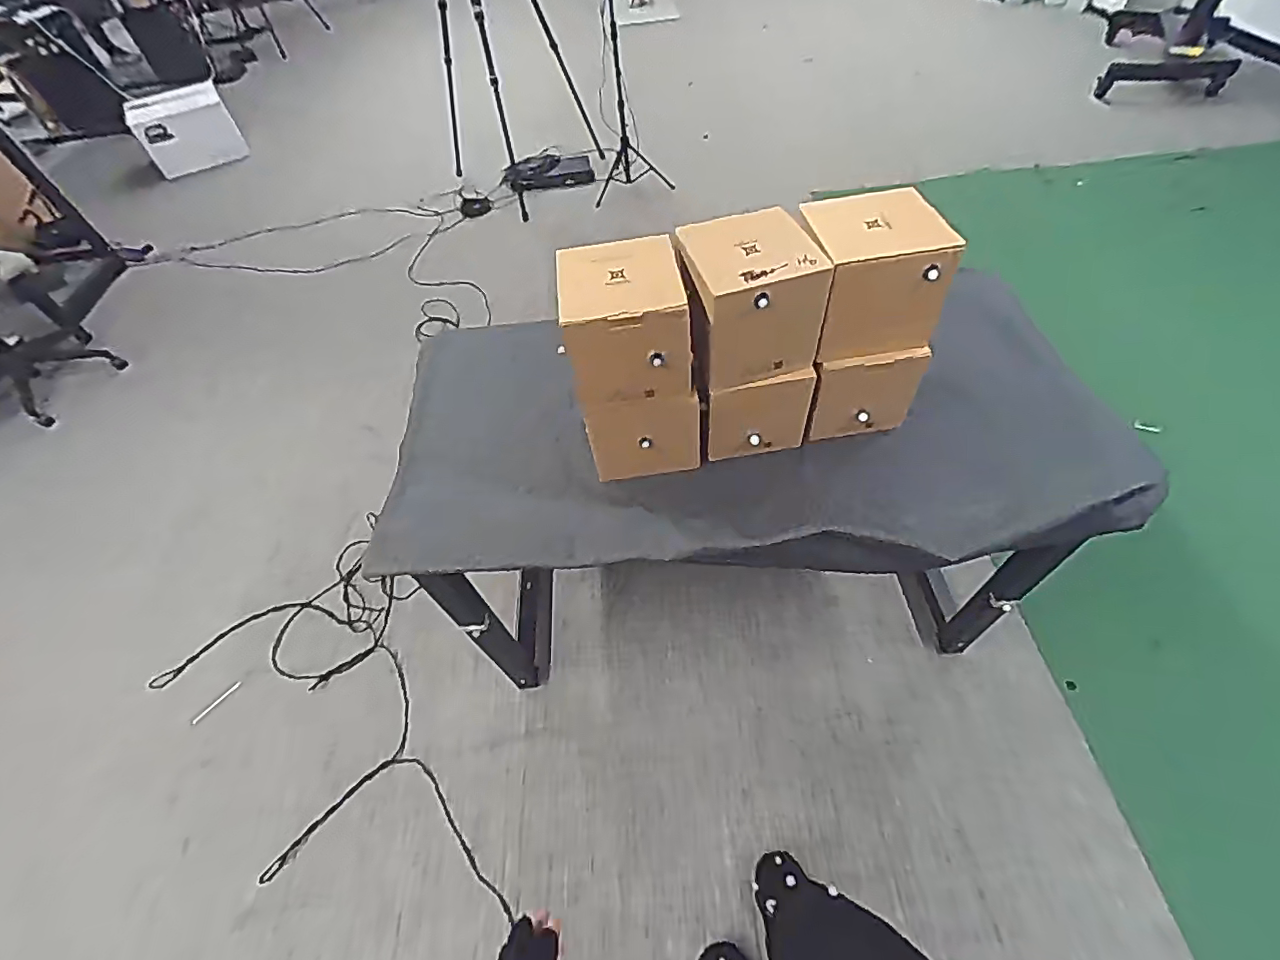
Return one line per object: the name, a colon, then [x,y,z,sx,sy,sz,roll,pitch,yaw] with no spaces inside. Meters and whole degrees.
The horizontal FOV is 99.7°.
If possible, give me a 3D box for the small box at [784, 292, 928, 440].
small box: [0.355,-0.194,0.932,0.168,0.176,0.179,-8,53,1]
